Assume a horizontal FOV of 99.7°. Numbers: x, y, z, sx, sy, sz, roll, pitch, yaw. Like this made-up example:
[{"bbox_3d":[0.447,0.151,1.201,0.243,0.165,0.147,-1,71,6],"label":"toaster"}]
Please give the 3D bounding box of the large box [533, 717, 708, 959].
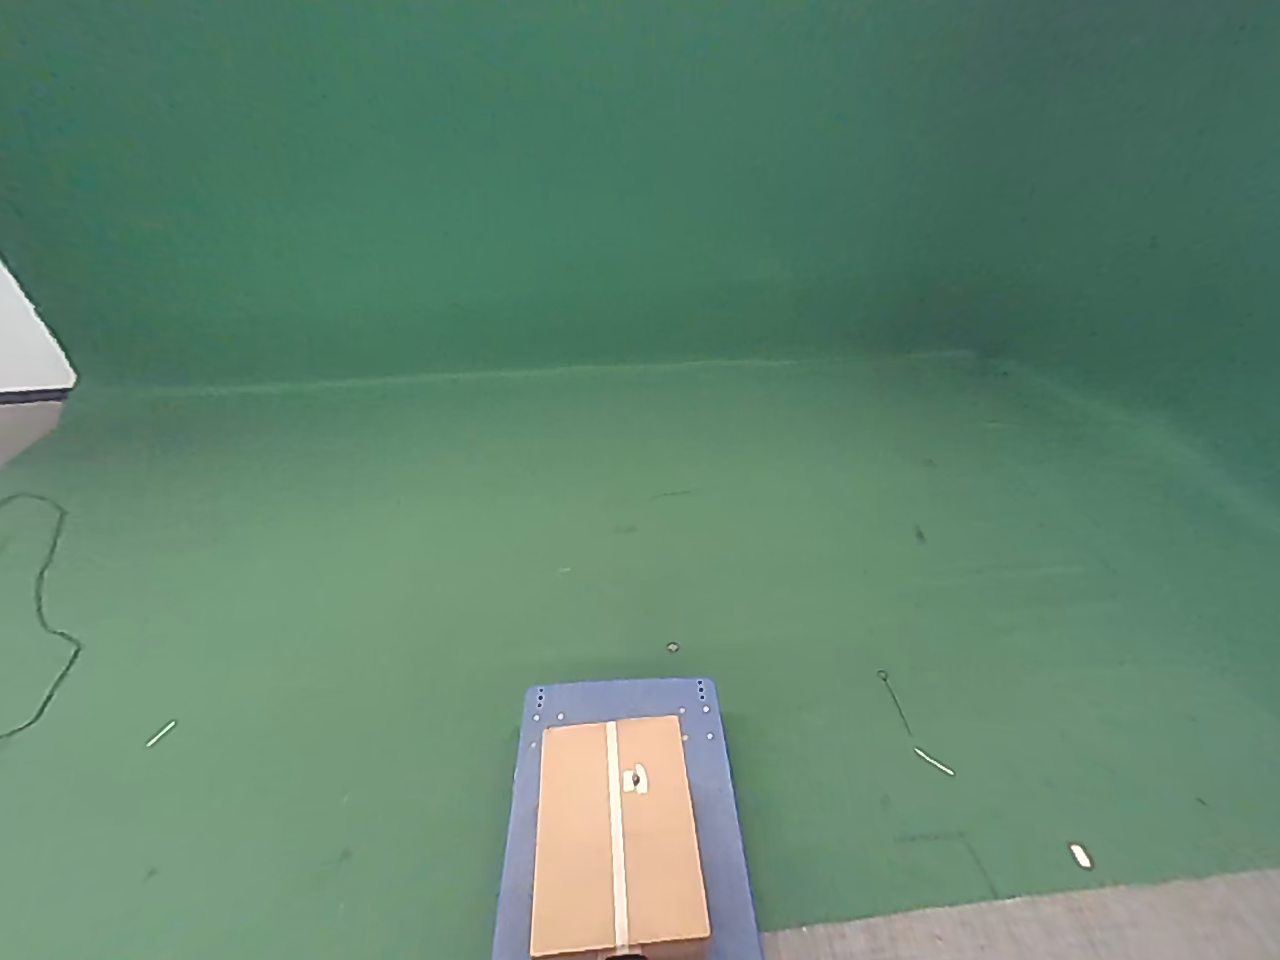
[{"bbox_3d":[-0.046,0.799,1.180,0.320,0.320,0.408,-4,38,-3],"label":"large box"}]
